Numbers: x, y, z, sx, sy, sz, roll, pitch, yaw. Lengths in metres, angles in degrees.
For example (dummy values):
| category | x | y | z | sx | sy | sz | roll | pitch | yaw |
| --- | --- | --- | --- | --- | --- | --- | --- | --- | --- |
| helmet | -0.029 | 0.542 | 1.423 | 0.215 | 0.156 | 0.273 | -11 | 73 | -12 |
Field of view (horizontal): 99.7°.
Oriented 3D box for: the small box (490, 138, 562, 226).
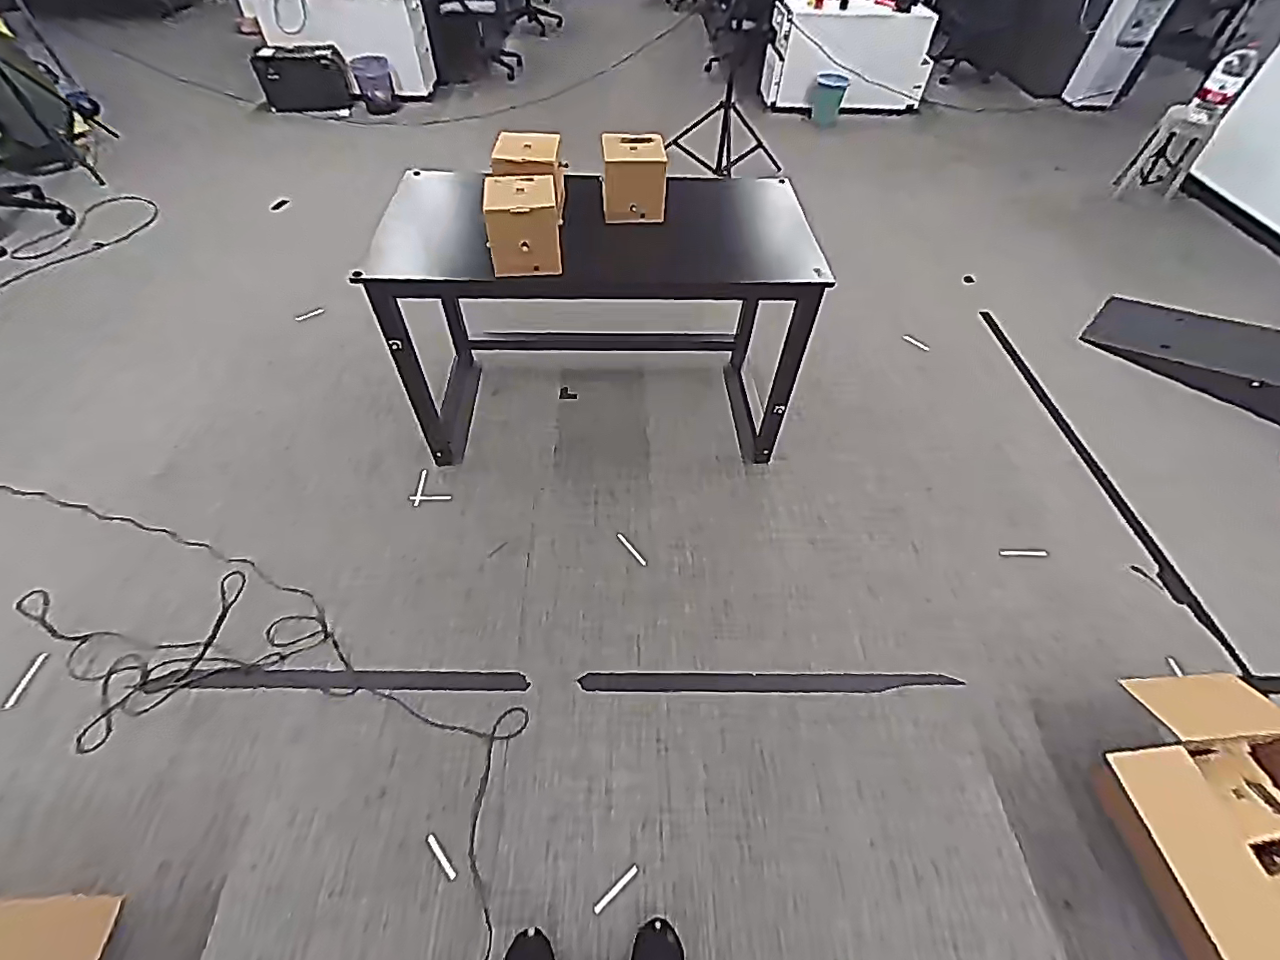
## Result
| category | x | y | z | sx | sy | sz | roll | pitch | yaw |
| --- | --- | --- | --- | --- | --- | --- | --- | --- | --- |
| small box | -0.311 | -0.830 | 1.514 | 0.168 | 0.176 | 0.179 | 0 | 52 | -2 |

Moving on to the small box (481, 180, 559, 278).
| category | x | y | z | sx | sy | sz | roll | pitch | yaw |
| --- | --- | --- | --- | --- | --- | --- | --- | --- | --- |
| small box | -0.293 | -0.619 | 1.344 | 0.168 | 0.176 | 0.179 | -5 | 52 | -6 |
